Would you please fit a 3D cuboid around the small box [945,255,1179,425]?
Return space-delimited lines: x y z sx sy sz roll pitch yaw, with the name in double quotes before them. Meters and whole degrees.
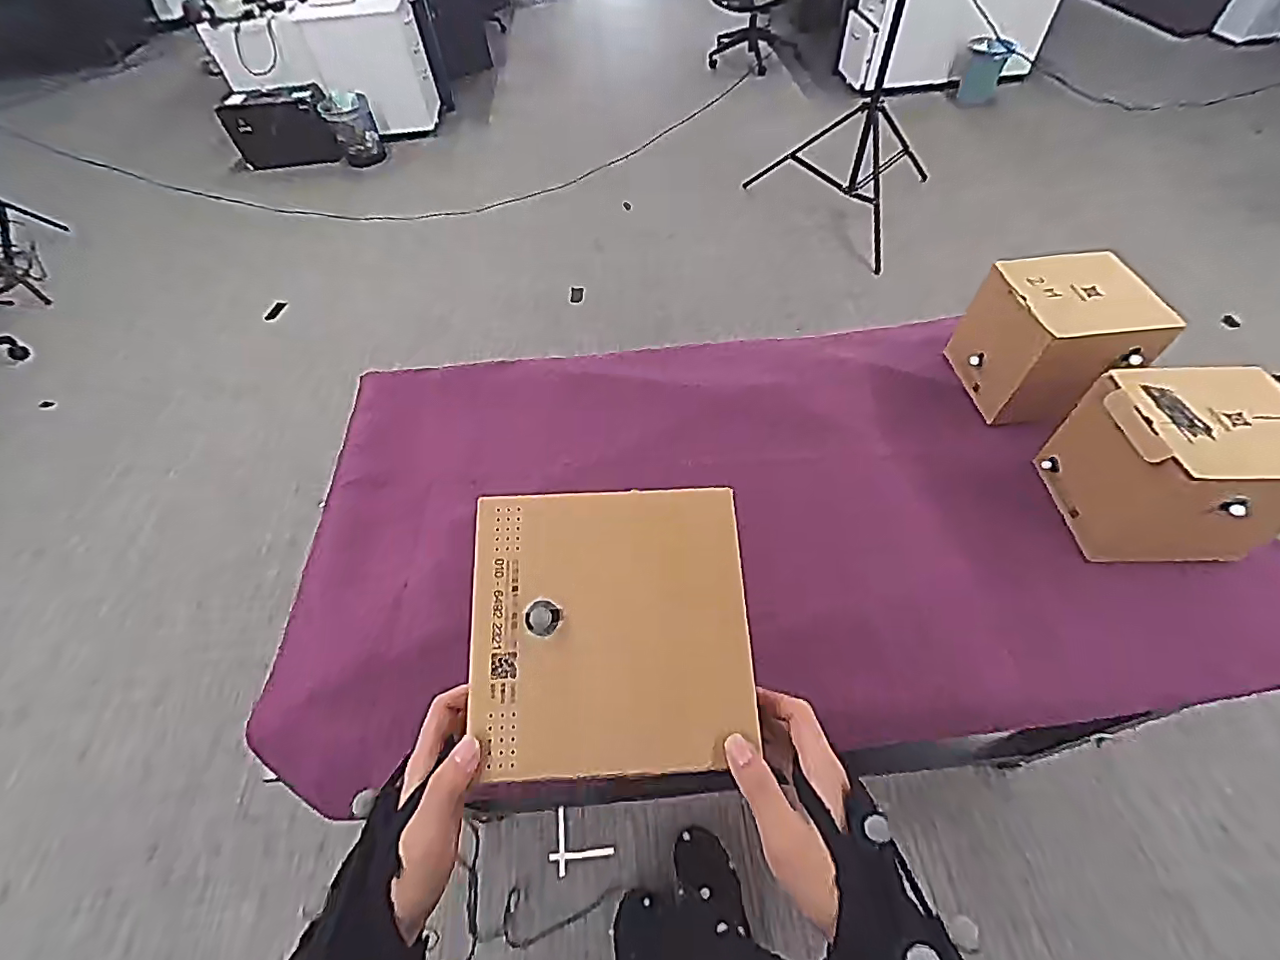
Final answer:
"small box" 0.590 -0.199 0.787 0.179 0.176 0.168 -6 54 -1

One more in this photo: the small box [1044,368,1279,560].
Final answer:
"small box" 0.631 -0.014 0.647 0.179 0.176 0.168 -1 52 3
